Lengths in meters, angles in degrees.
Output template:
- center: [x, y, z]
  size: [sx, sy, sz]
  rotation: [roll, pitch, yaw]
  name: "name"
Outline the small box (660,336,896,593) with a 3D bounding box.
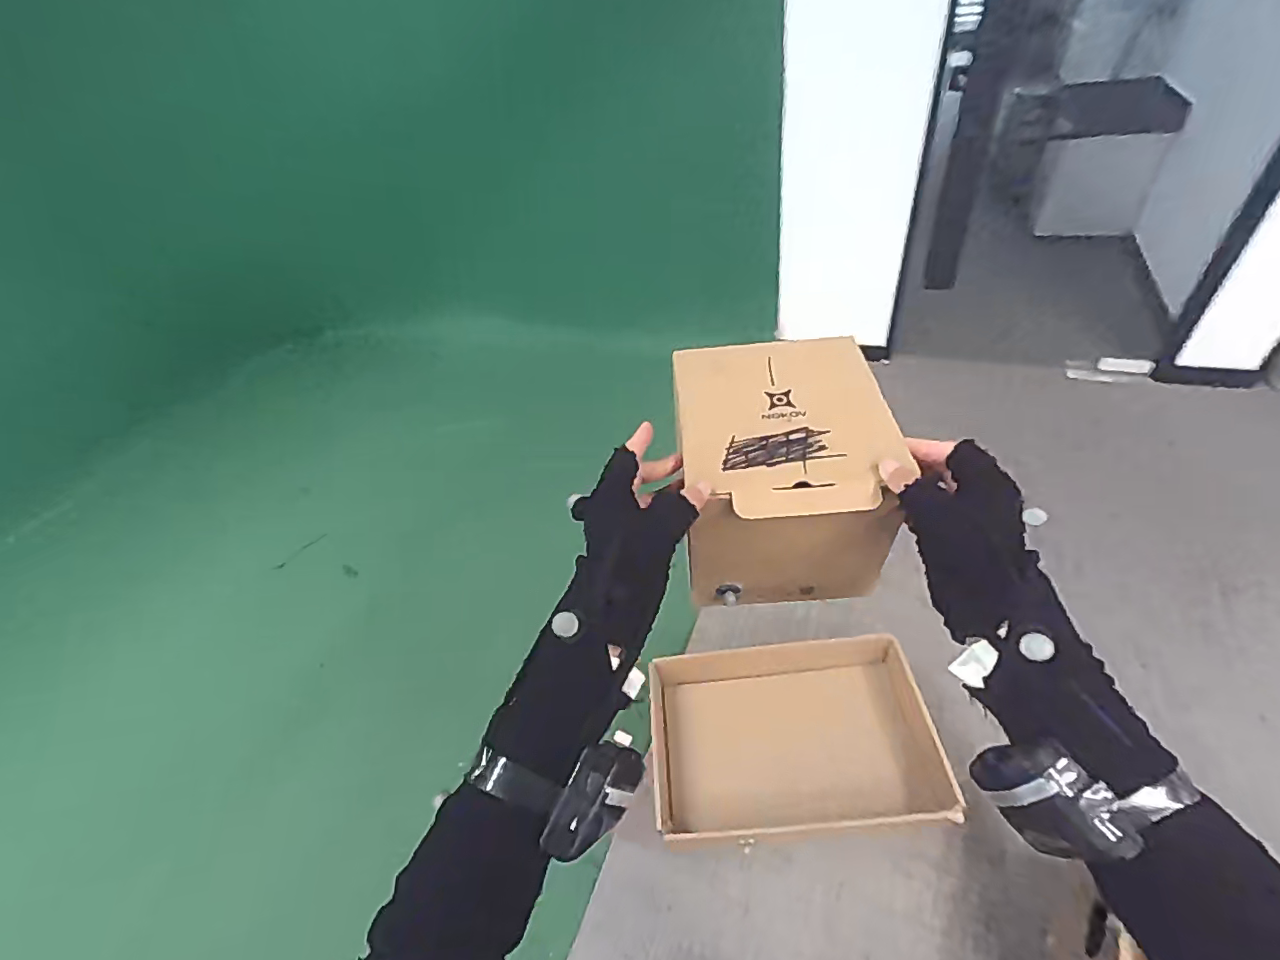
- center: [0.107, -0.007, 0.499]
  size: [0.168, 0.176, 0.179]
  rotation: [-4, 48, 3]
  name: "small box"
